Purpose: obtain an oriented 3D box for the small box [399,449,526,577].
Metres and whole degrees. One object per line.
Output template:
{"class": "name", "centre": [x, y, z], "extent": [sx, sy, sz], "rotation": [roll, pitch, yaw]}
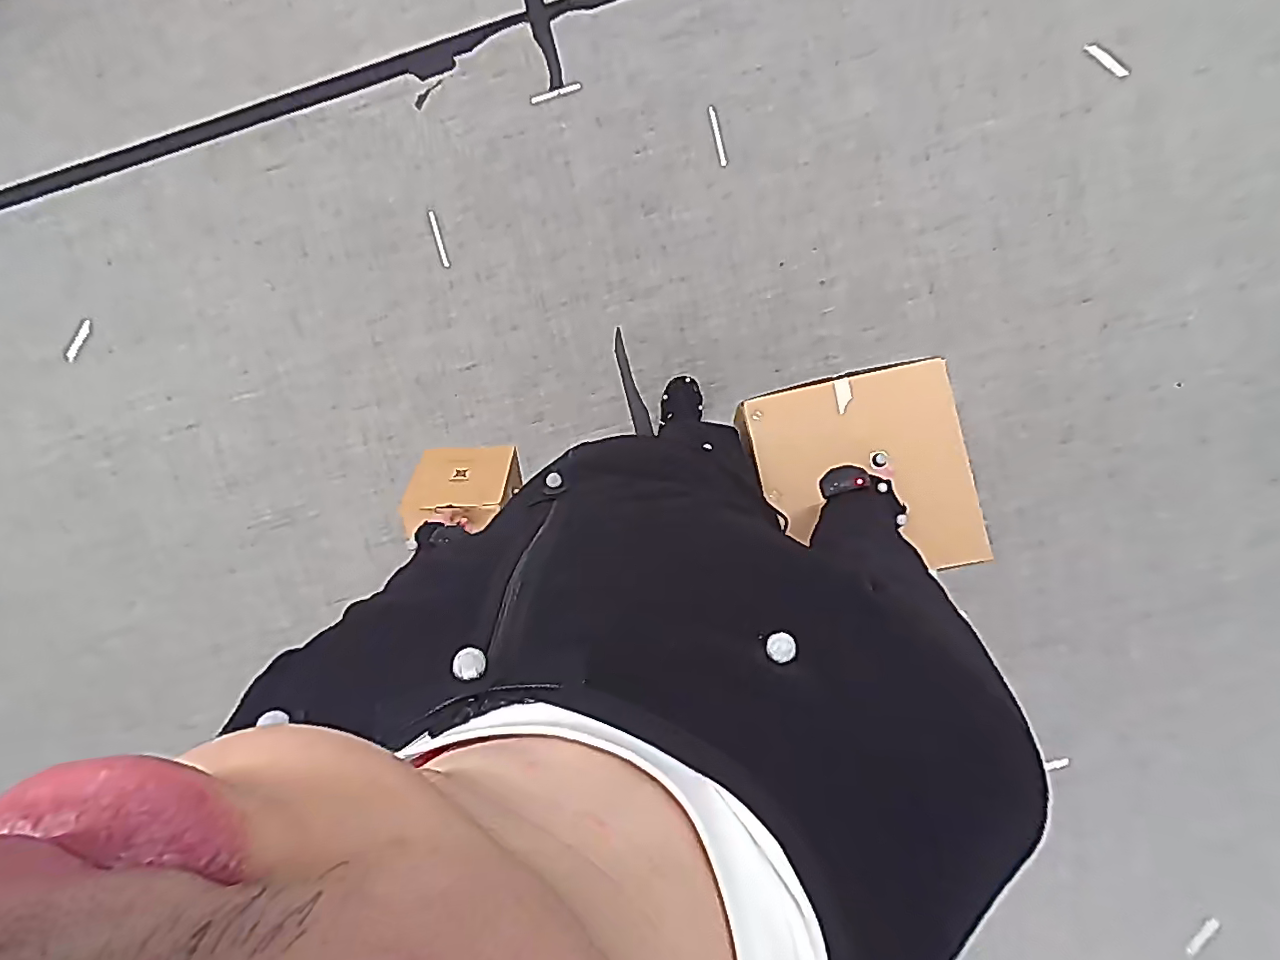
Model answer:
{"class": "small box", "centre": [-0.307, 0.062, 0.980], "extent": [0.168, 0.179, 0.176], "rotation": [-2, 127, -1]}
